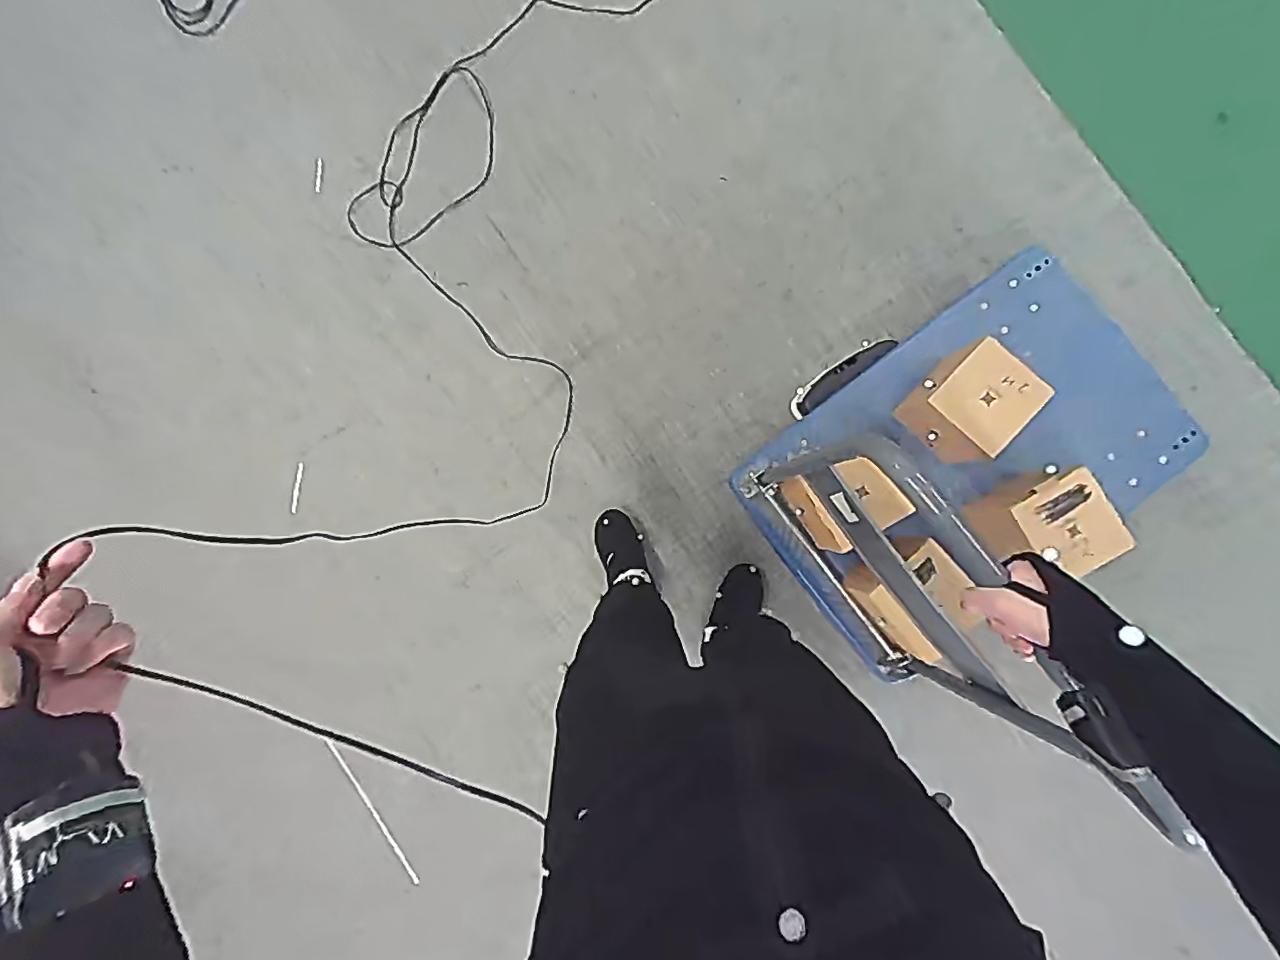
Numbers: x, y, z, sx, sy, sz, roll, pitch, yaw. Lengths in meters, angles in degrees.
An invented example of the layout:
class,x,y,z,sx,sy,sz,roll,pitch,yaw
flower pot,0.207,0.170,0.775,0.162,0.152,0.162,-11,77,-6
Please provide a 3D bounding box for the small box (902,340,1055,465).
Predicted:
class,x,y,z,sx,sy,sz,roll,pitch,yaw
small box,0.665,-0.146,1.096,0.168,0.176,0.179,44,90,3

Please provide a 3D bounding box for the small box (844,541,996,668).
class,x,y,z,sx,sy,sz,roll,pitch,yaw
small box,0.544,0.235,1.080,0.168,0.176,0.179,-40,88,1

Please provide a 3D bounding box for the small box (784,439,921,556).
class,x,y,z,sx,sy,sz,roll,pitch,yaw
small box,0.420,0.035,1.100,0.179,0.176,0.168,-31,87,2
